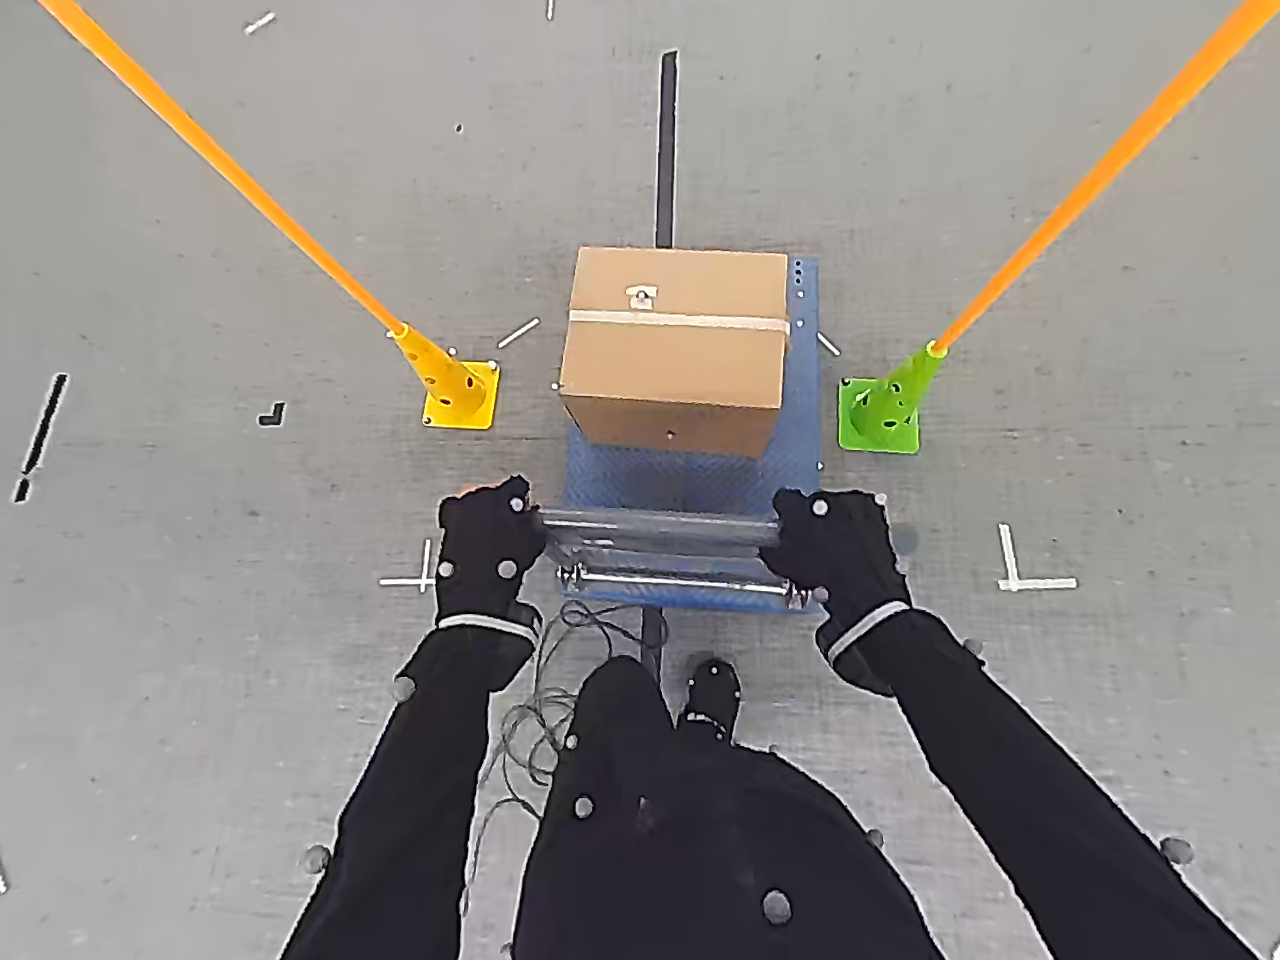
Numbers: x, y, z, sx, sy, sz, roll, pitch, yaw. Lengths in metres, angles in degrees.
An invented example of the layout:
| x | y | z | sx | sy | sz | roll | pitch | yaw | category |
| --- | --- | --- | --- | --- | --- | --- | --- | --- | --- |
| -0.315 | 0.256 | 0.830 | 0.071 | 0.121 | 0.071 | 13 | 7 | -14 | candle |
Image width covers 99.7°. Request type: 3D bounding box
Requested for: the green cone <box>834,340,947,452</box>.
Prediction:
| x | y | z | sx | sy | sz | roll | pitch | yaw | category |
| --- | --- | --- | --- | --- | --- | --- | --- | --- | --- |
| 0.602 | -0.216 | 1.255 | 0.202 | 0.368 | 0.200 | 4 | 76 | 5 | green cone |

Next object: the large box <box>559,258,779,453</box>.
| x | y | z | sx | sy | sz | roll | pitch | yaw | category |
| --- | --- | --- | --- | --- | --- | --- | --- | --- | --- |
| 0.073 | -0.250 | 1.163 | 0.408 | 0.320 | 0.320 | 4 | 77 | 7 | large box |
